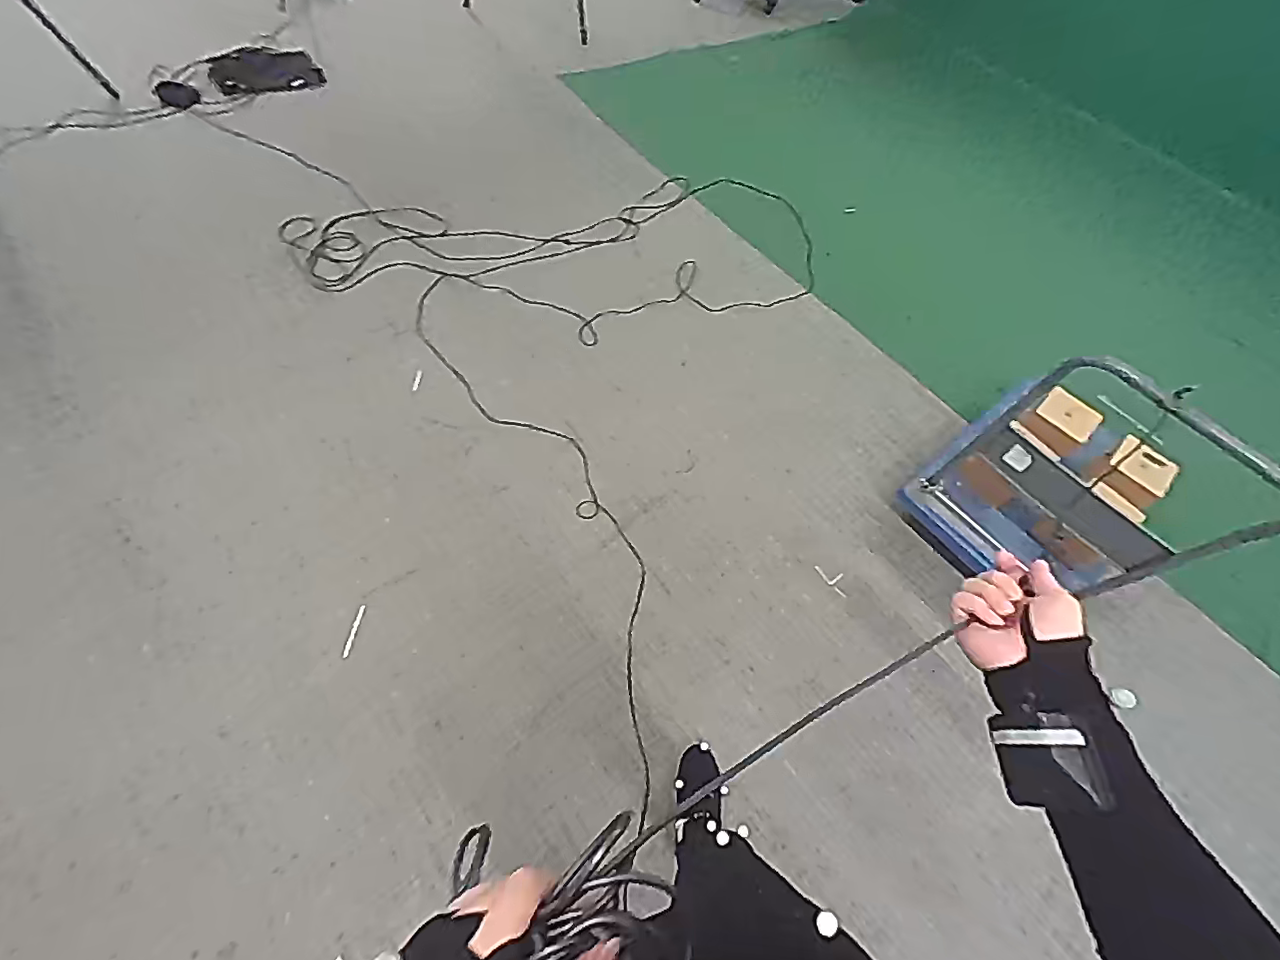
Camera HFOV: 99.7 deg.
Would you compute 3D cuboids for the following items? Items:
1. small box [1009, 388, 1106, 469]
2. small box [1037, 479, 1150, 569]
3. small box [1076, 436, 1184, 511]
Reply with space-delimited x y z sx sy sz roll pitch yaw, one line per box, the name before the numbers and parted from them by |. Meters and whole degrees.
small box | 1.384 -0.166 1.806 0.179 0.176 0.168 -37 70 -25
small box | 1.348 0.134 1.619 0.179 0.176 0.168 -32 68 -23
small box | 1.556 -0.001 1.727 0.179 0.176 0.168 -37 69 -24
